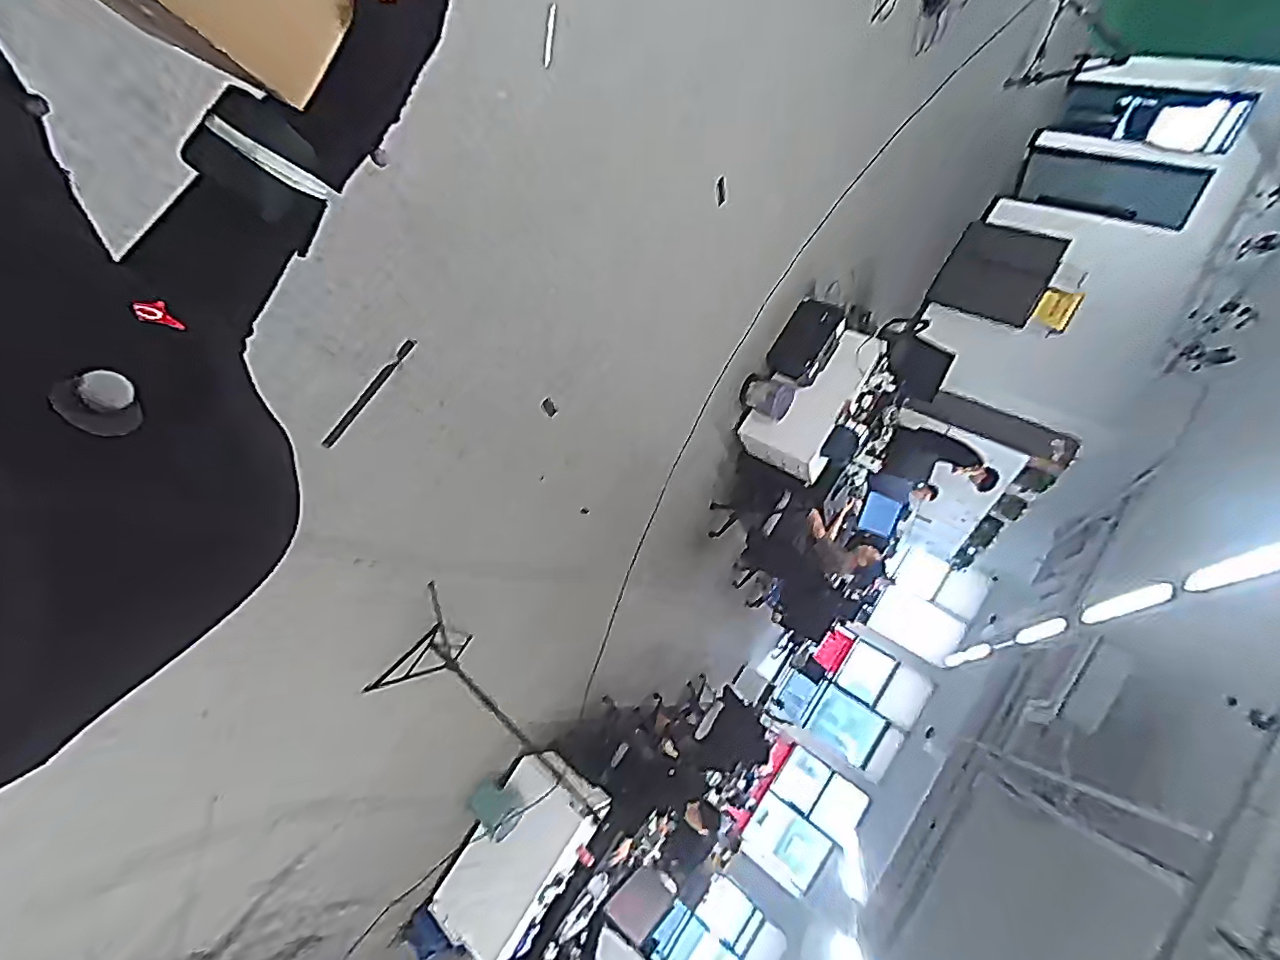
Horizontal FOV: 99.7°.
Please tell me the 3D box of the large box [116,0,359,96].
[{"bbox_3d":[-0.334,-0.486,0.231,0.320,0.320,0.408,-56,154,7],"label":"large box"}]
